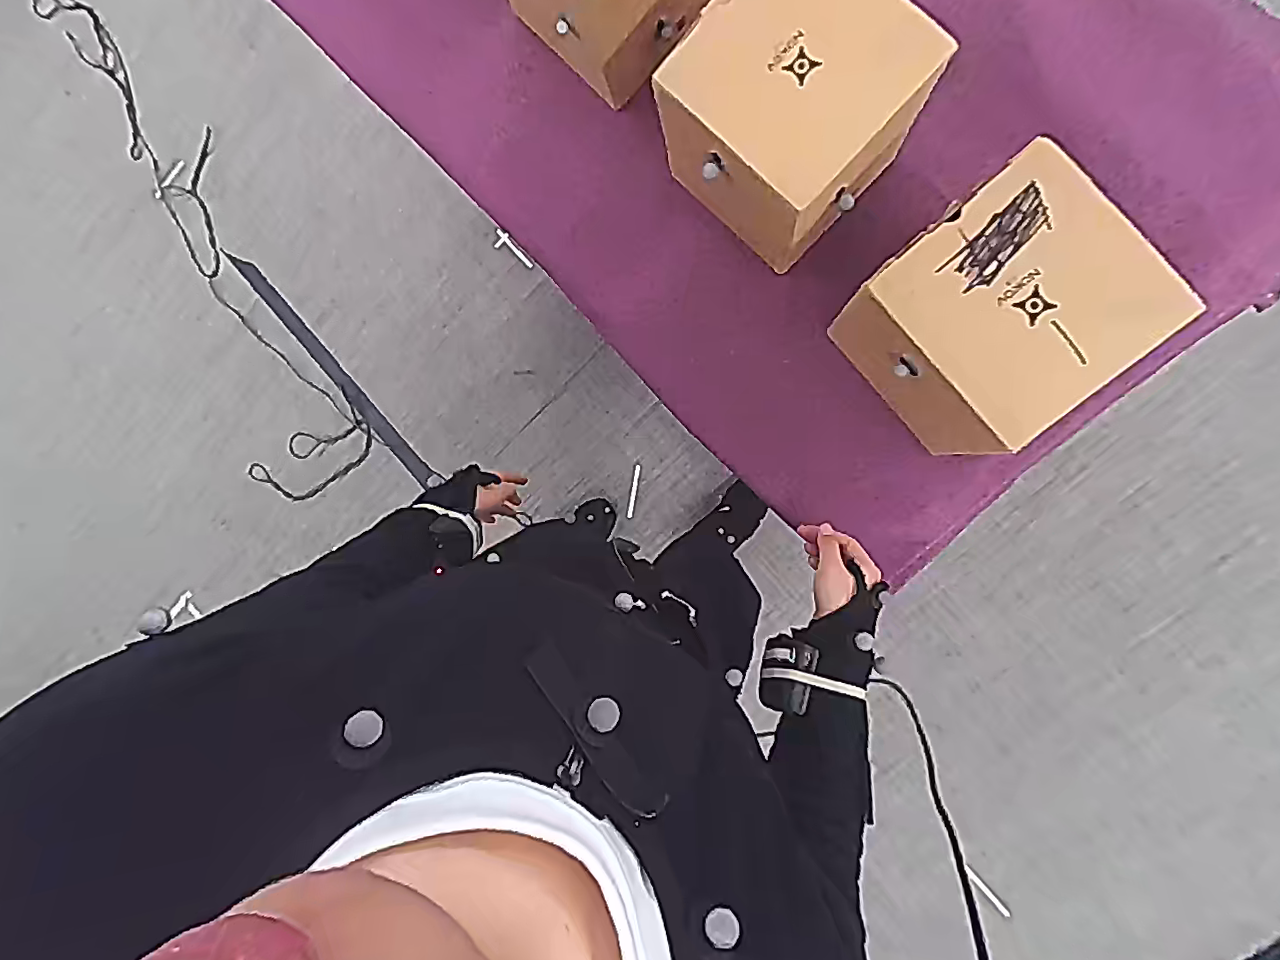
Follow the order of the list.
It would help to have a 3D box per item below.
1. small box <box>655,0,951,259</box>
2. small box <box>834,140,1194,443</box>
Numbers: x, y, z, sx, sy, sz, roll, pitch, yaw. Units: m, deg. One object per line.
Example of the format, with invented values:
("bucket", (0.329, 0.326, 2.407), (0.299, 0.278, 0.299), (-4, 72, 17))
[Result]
("small box", (0.141, -0.340, 0.514), (0.179, 0.176, 0.168), (45, 99, 5))
("small box", (0.305, -0.145, 0.492), (0.168, 0.176, 0.179), (-40, 87, 9))
